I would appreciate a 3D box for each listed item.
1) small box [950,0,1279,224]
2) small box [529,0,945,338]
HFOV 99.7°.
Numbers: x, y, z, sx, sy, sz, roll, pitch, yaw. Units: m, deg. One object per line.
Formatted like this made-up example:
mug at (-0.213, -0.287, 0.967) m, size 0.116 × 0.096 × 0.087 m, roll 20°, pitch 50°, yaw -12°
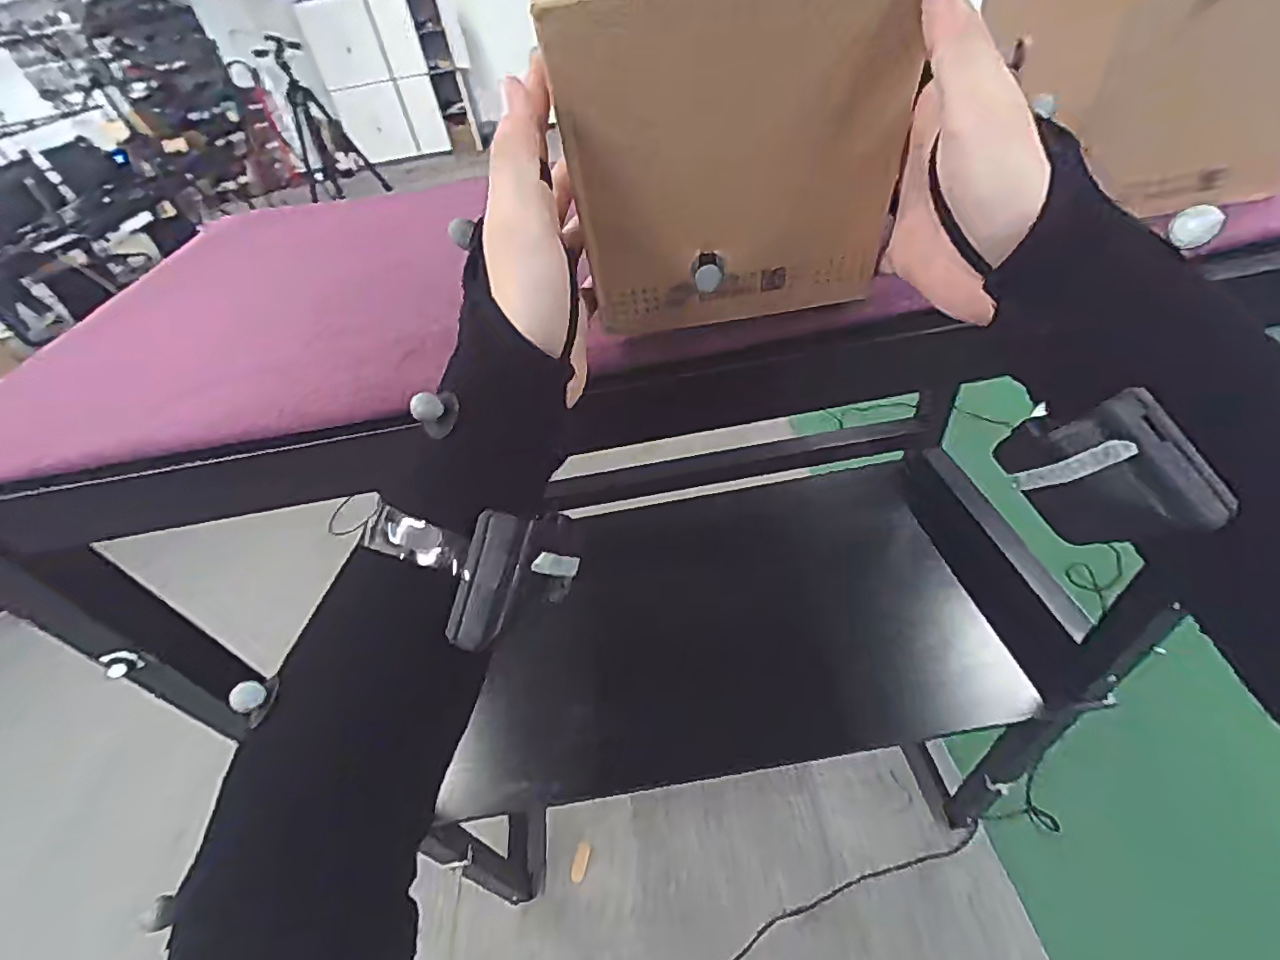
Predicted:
small box at (0.365, -0.312, 0.404) m, size 0.168 × 0.176 × 0.179 m, roll -8°, pitch 43°, yaw 5°
small box at (0.041, -0.211, 0.316) m, size 0.168 × 0.176 × 0.179 m, roll -9°, pitch 54°, yaw 3°
